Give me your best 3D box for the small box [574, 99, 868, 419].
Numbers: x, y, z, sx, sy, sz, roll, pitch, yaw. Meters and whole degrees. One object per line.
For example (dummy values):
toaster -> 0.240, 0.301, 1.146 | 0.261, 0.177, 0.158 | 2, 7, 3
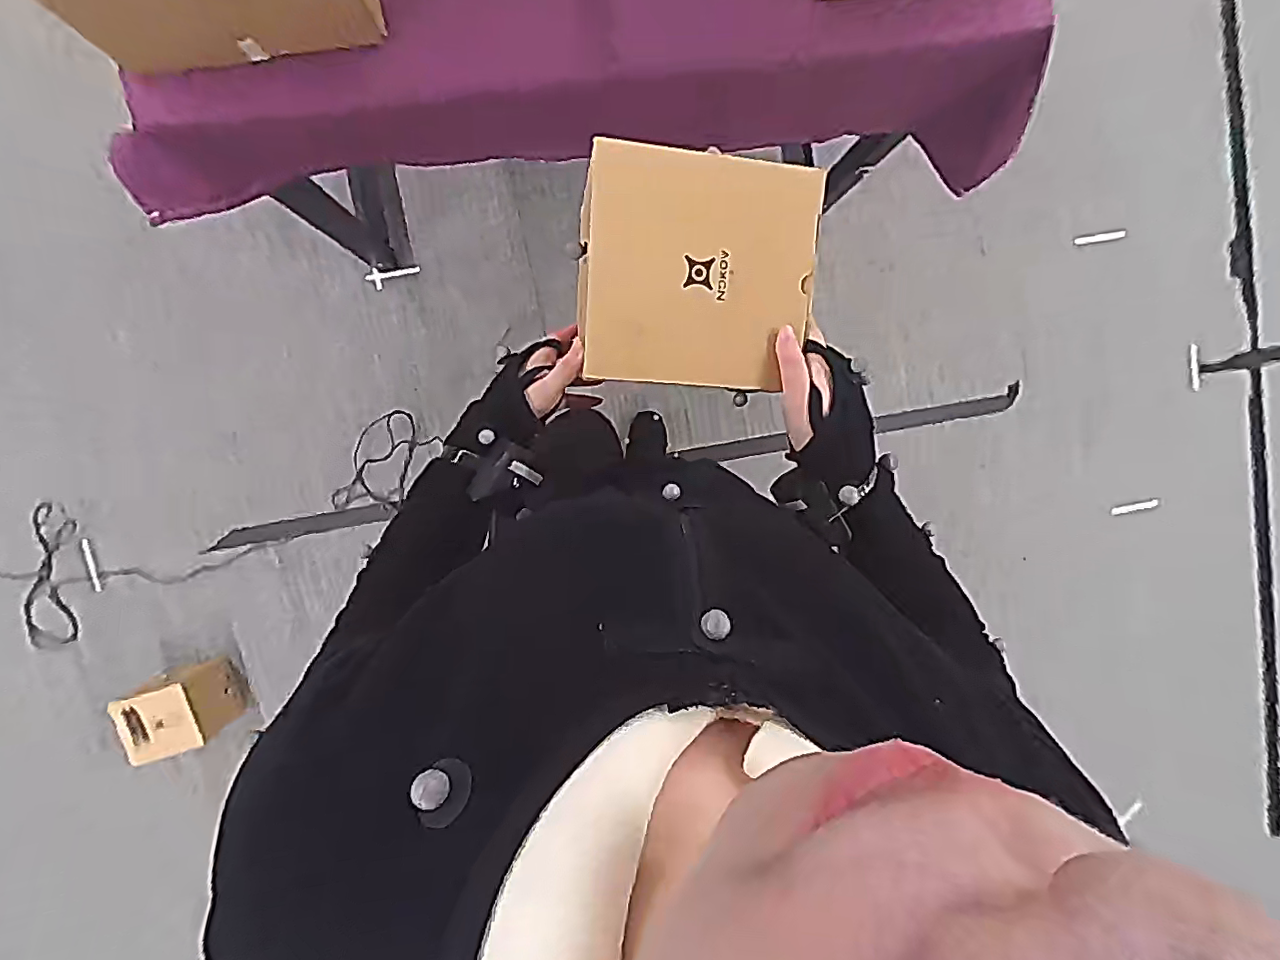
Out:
small box -> 0.058, -0.155, 0.443 | 0.168, 0.176, 0.179 | -3, 84, -28
